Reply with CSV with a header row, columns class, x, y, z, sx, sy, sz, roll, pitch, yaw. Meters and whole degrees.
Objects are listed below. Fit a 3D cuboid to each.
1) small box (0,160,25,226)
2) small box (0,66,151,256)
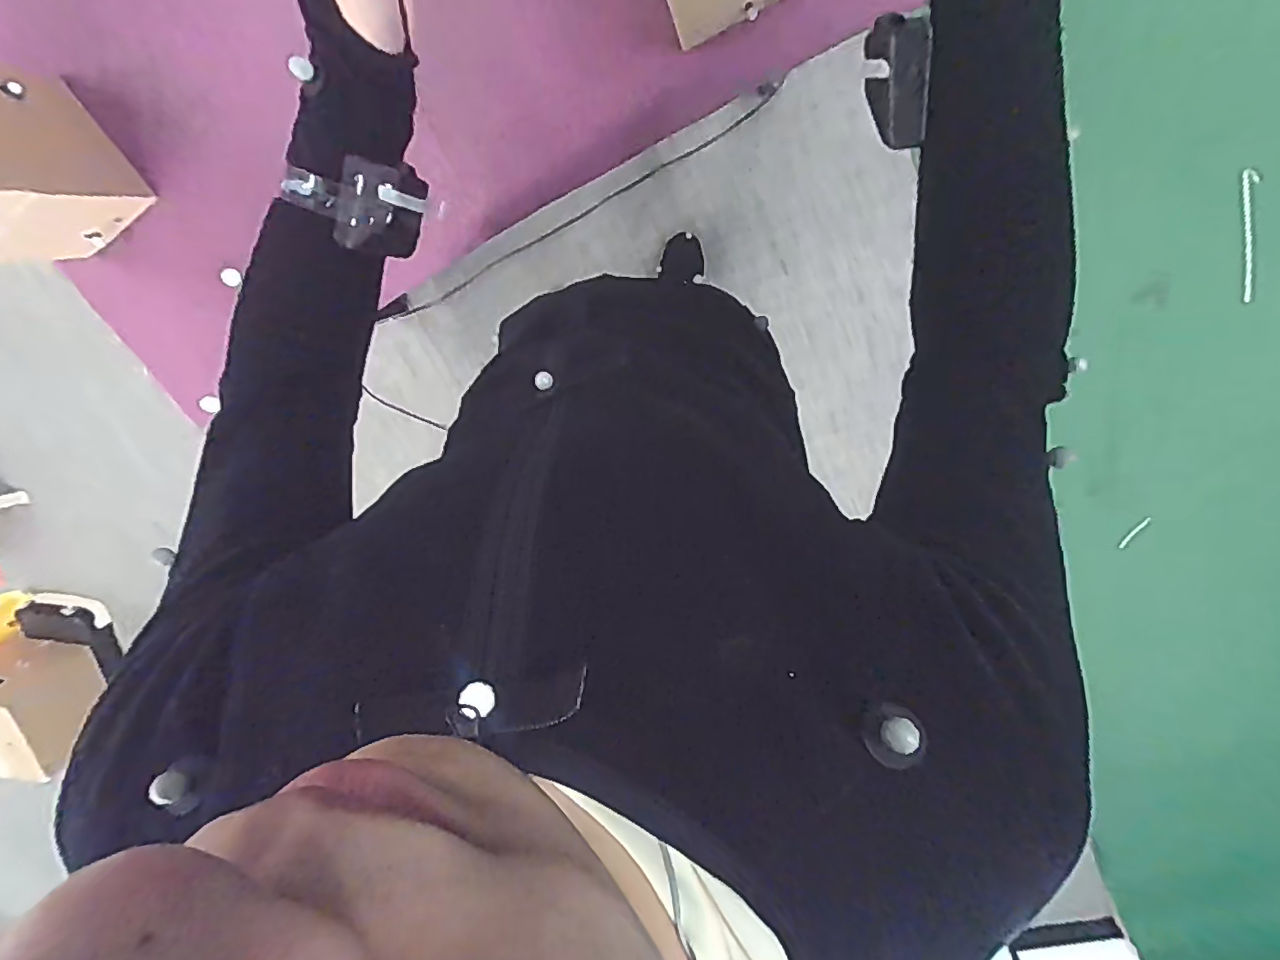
class,x,y,z,sx,sy,sz,roll,pitch,yaw
small box,-0.833,-0.338,0.556,0.168,0.176,0.179,-25,112,17
small box,-0.819,-0.409,0.703,0.168,0.176,0.179,-25,112,17
